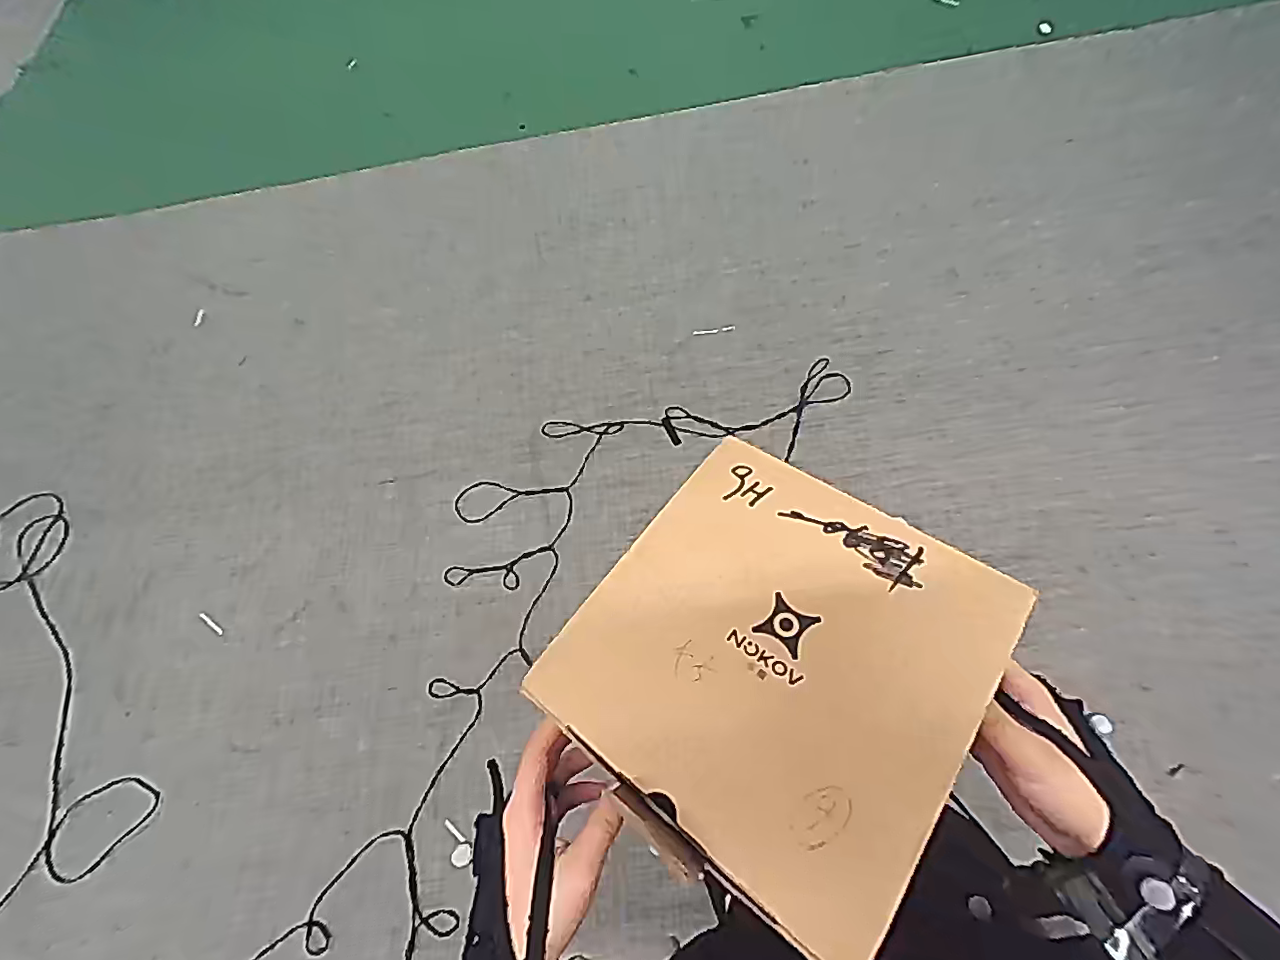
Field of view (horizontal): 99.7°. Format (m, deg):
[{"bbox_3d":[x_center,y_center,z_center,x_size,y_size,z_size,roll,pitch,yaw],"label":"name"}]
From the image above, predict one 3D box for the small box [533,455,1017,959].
[{"bbox_3d":[0.073,0.125,0.321,0.168,0.176,0.179,31,66,26],"label":"small box"}]
